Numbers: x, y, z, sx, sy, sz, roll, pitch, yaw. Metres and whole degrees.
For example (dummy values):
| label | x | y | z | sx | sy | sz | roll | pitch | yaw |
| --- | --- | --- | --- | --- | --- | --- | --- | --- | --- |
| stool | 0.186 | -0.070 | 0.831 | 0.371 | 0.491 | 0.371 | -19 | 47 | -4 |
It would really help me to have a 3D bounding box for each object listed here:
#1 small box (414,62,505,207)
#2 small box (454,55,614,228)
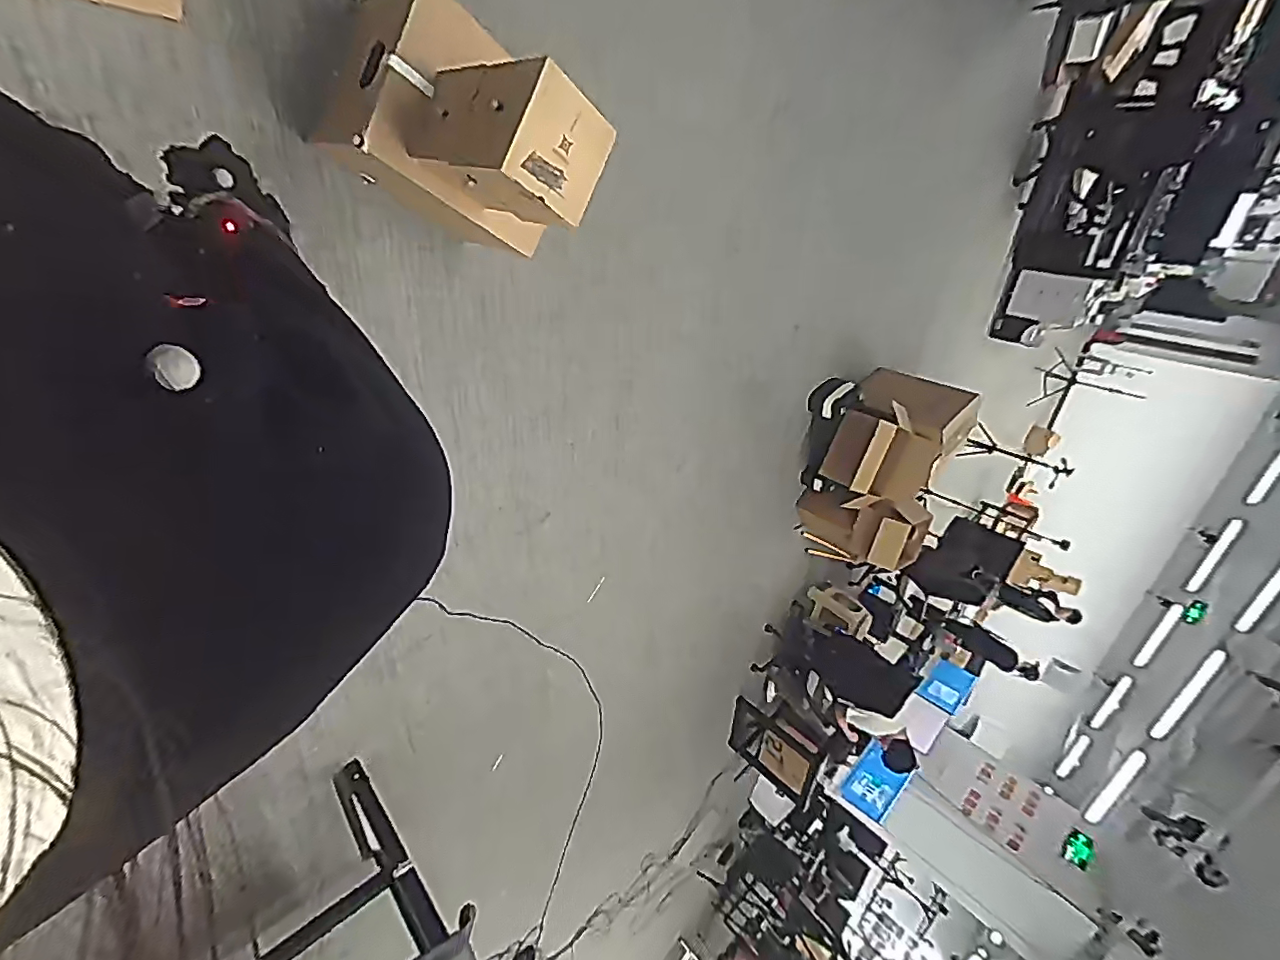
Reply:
| label | x | y | z | sx | sy | sz | roll | pitch | yaw |
| --- | --- | --- | --- | --- | --- | --- | --- | --- | --- |
| small box | -0.288 | -0.623 | 1.002 | 0.179 | 0.176 | 0.168 | 9 | 104 | -51 |
| small box | -0.181 | -0.550 | 0.896 | 0.168 | 0.176 | 0.179 | 18 | 98 | -52 |
